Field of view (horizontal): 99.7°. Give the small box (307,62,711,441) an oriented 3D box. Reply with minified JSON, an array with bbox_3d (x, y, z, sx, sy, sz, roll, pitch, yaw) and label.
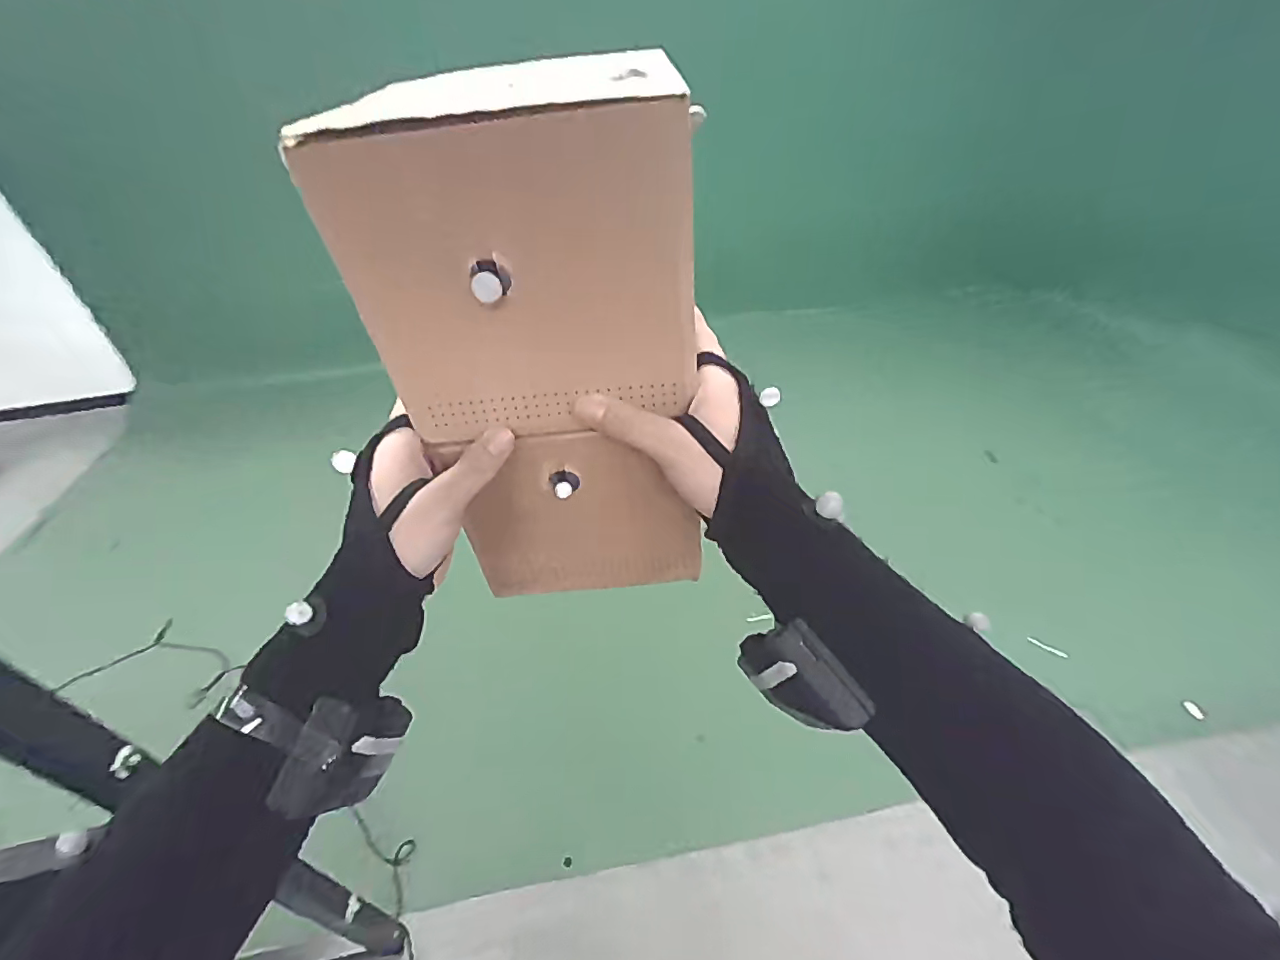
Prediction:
[{"bbox_3d":[-0.053,-0.139,0.342,0.179,0.176,0.168,-6,43,3],"label":"small box"}]

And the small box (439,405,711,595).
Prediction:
[{"bbox_3d":[-0.036,-0.019,0.452,0.179,0.176,0.168,-5,42,3],"label":"small box"}]
